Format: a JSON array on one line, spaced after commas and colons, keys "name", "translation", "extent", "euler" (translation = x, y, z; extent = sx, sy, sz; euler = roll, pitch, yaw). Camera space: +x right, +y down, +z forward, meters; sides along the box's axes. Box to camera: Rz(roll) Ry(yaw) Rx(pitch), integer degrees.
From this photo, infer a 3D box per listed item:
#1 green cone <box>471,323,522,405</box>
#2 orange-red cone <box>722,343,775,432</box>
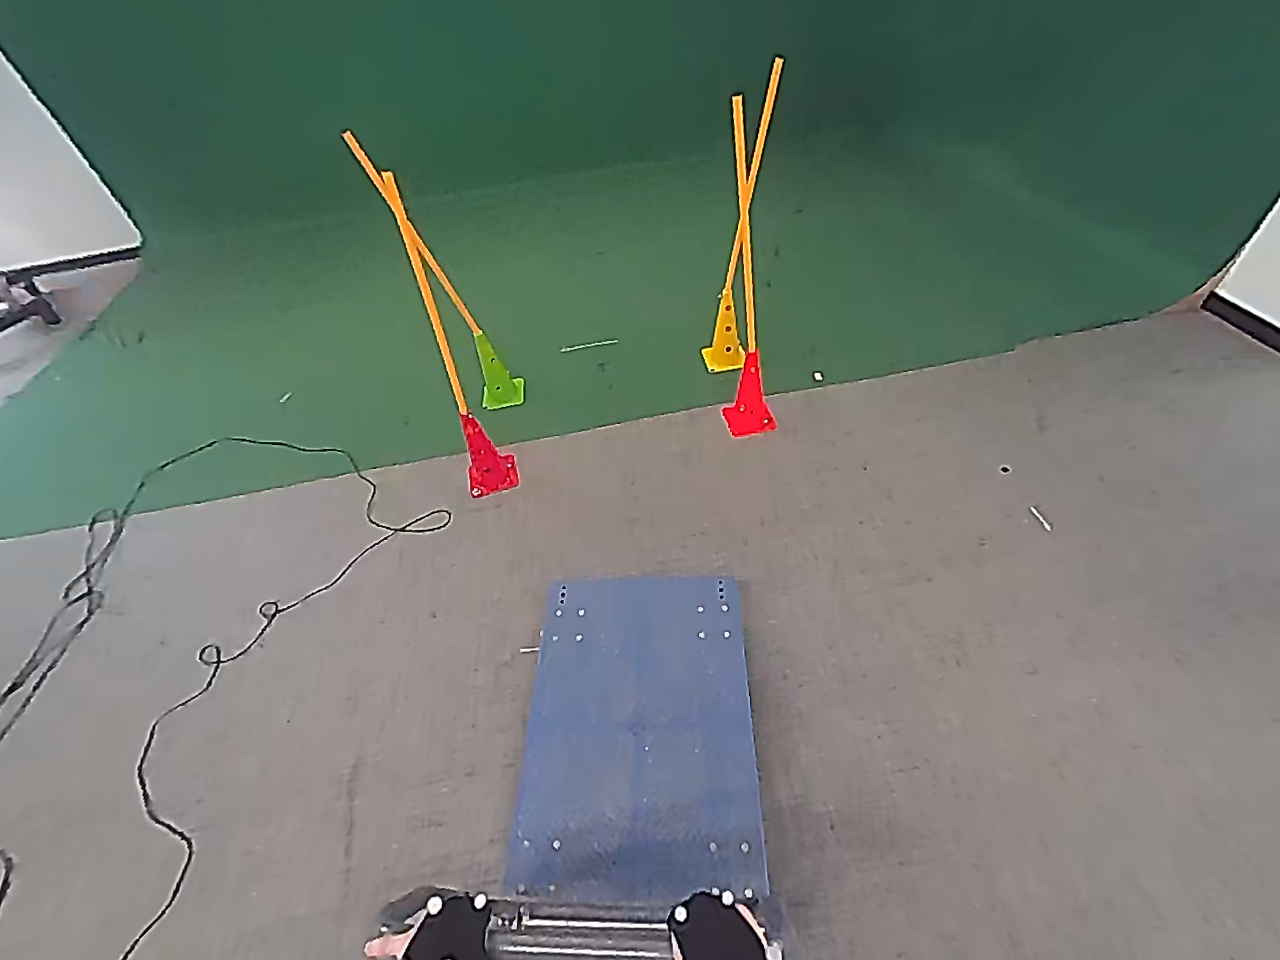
[{"name": "green cone", "translation": [-0.694, -0.553, 2.499], "extent": [0.200, 0.368, 0.202], "euler": [-11, 47, -1]}, {"name": "orange-red cone", "translation": [0.447, -0.398, 2.198], "extent": [0.198, 0.360, 0.199], "euler": [-10, 46, -2]}]
